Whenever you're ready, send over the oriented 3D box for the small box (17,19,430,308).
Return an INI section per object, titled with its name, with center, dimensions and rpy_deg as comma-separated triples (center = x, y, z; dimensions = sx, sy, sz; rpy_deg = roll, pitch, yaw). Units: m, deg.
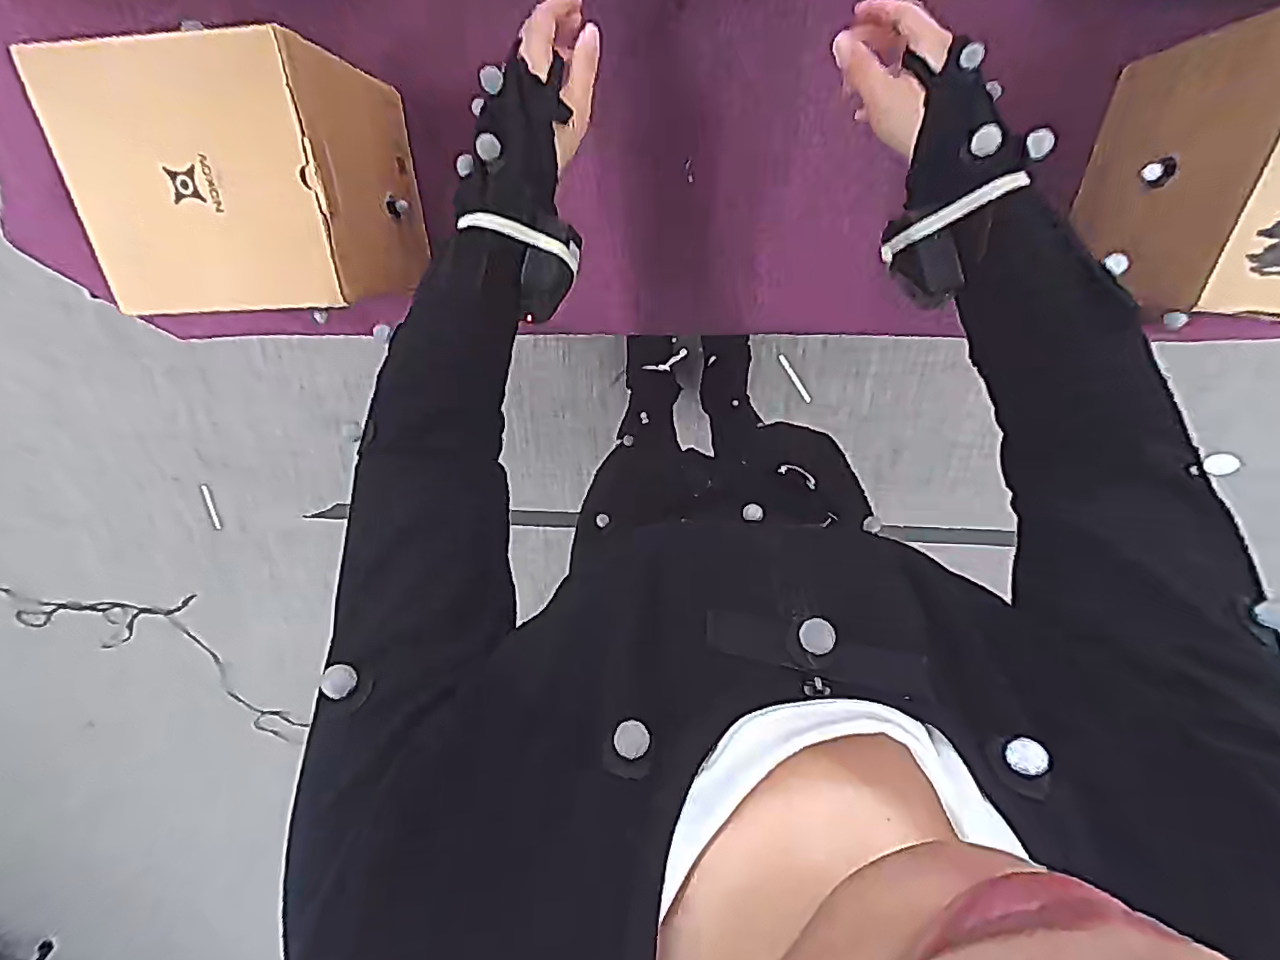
[small box]
center = -0.300, -0.236, 0.440
dimensions = 0.179, 0.176, 0.168
rpy_deg = -3, 114, 3
